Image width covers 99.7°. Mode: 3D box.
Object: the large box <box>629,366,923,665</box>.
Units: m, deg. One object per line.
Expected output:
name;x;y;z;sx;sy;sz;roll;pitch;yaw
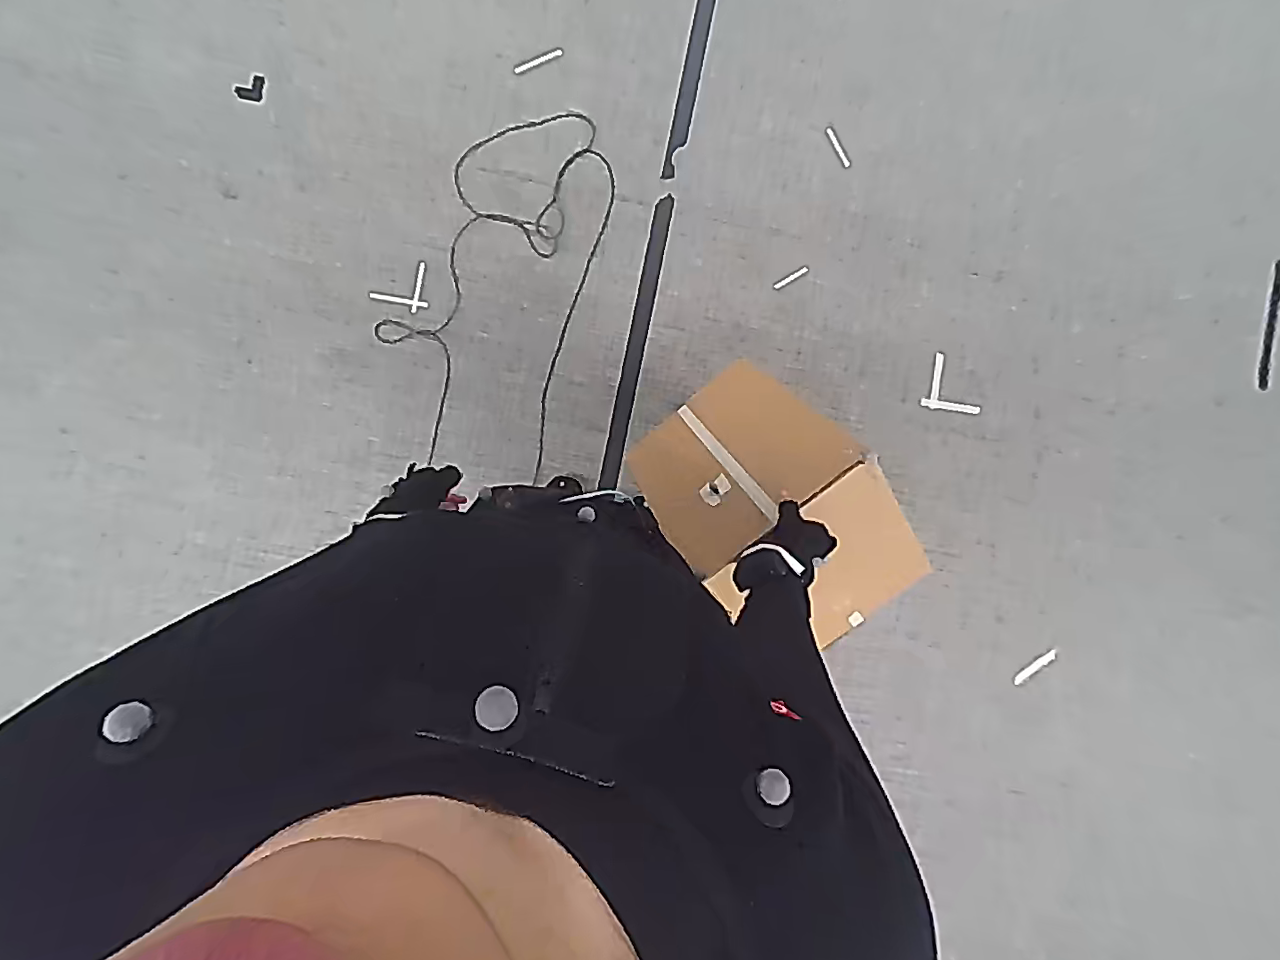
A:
large box;0.233;0.052;1.012;0.320;0.408;0.320;-39;125;8
